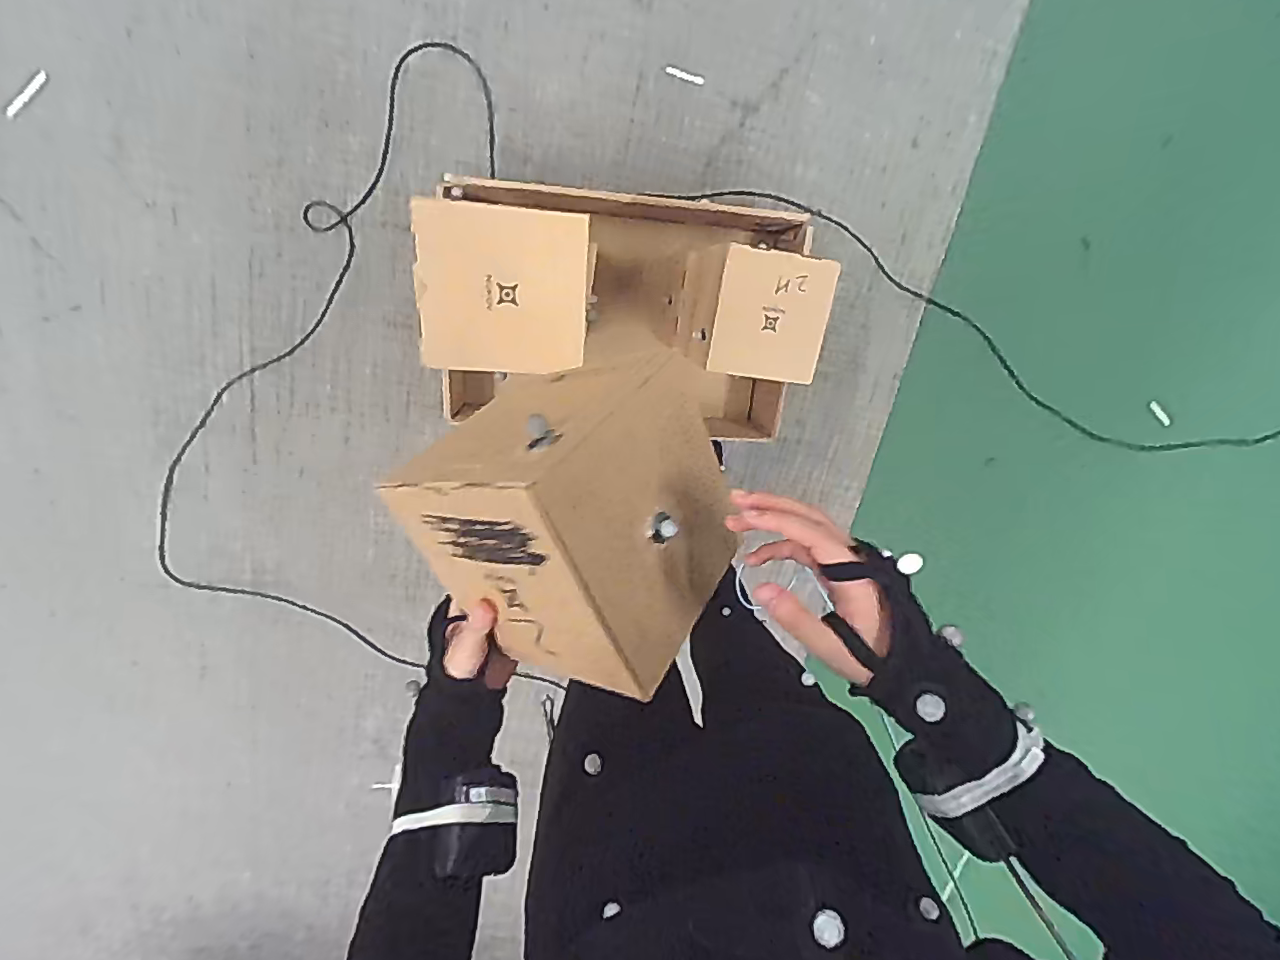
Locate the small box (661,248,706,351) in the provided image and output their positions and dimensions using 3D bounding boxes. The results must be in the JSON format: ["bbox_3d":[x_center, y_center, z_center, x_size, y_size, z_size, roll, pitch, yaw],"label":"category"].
[{"bbox_3d":[0.142,-0.315,0.988,0.179,0.176,0.168,7,109,-9],"label":"small box"}]

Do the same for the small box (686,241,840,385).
[{"bbox_3d":[0.176,-0.257,0.837,0.168,0.176,0.179,6,108,-11],"label":"small box"}]

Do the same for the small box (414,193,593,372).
[{"bbox_3d":[-0.149,-0.229,0.635,0.179,0.176,0.168,2,111,-7],"label":"small box"}]
